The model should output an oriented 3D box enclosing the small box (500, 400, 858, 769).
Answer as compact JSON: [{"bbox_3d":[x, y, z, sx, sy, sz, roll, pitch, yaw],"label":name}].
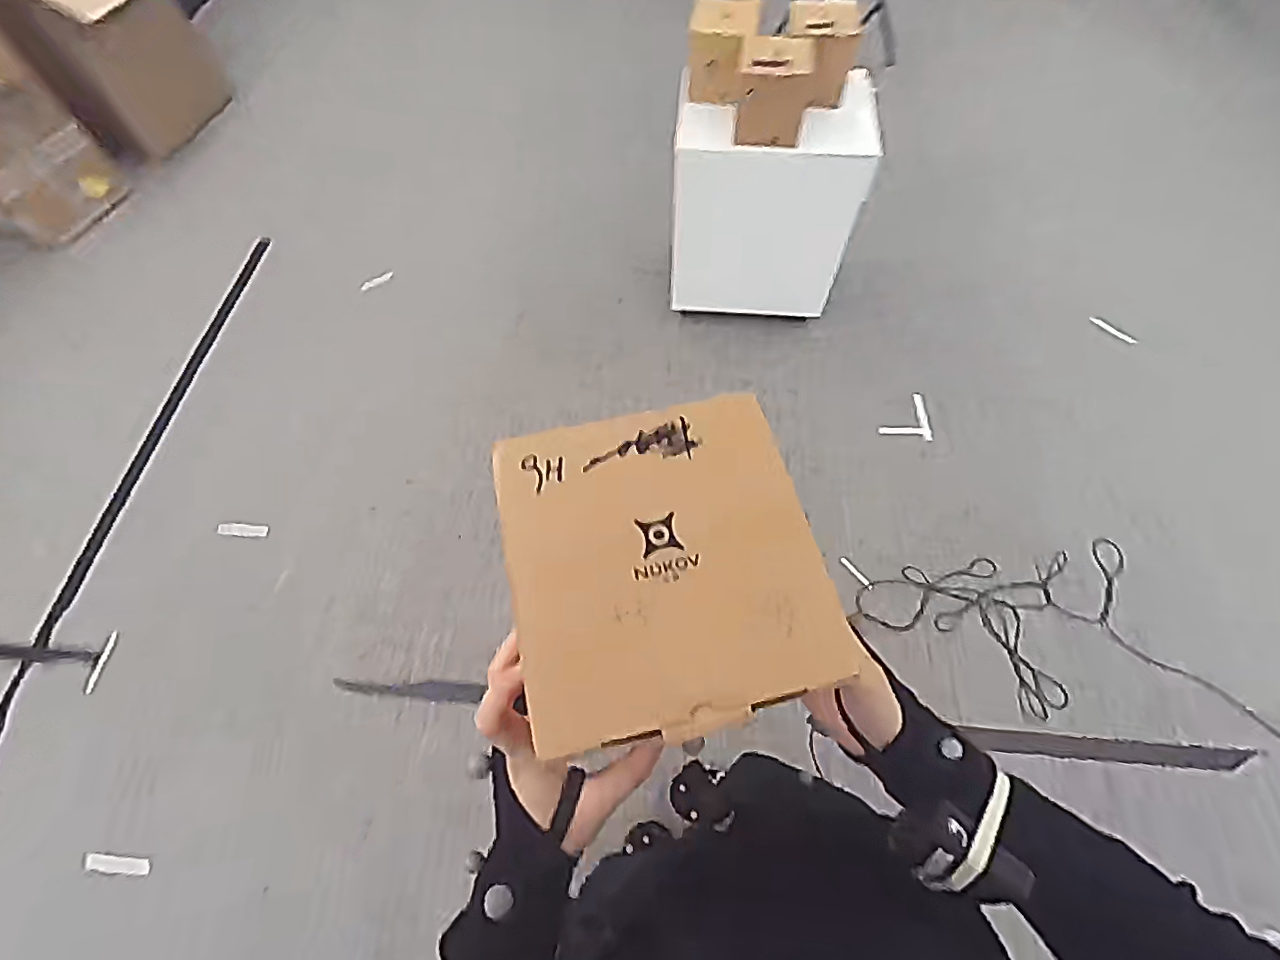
[{"bbox_3d":[0.013,0.074,0.366,0.168,0.176,0.179,-11,67,-6],"label":"small box"}]

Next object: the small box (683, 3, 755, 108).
[{"bbox_3d":[0.206,-1.123,1.437,0.168,0.176,0.179,7,63,5],"label":"small box"}]
